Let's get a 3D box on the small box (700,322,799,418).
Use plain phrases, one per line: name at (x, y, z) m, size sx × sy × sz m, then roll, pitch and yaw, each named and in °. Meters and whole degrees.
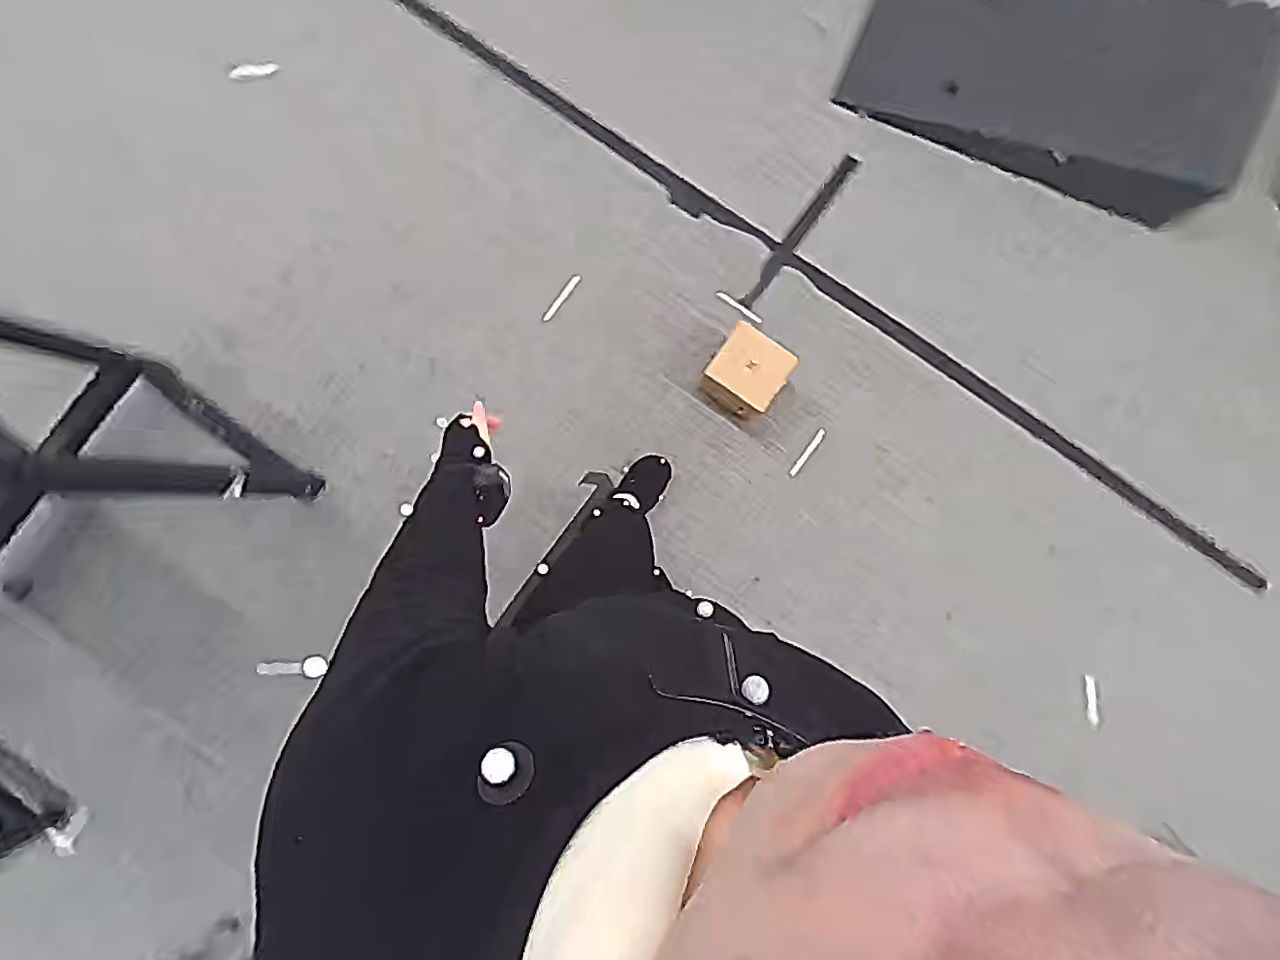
small box at (0.275, -0.274, 1.402) m, size 0.179 × 0.176 × 0.168 m, roll 36°, pitch 88°, yaw 1°
